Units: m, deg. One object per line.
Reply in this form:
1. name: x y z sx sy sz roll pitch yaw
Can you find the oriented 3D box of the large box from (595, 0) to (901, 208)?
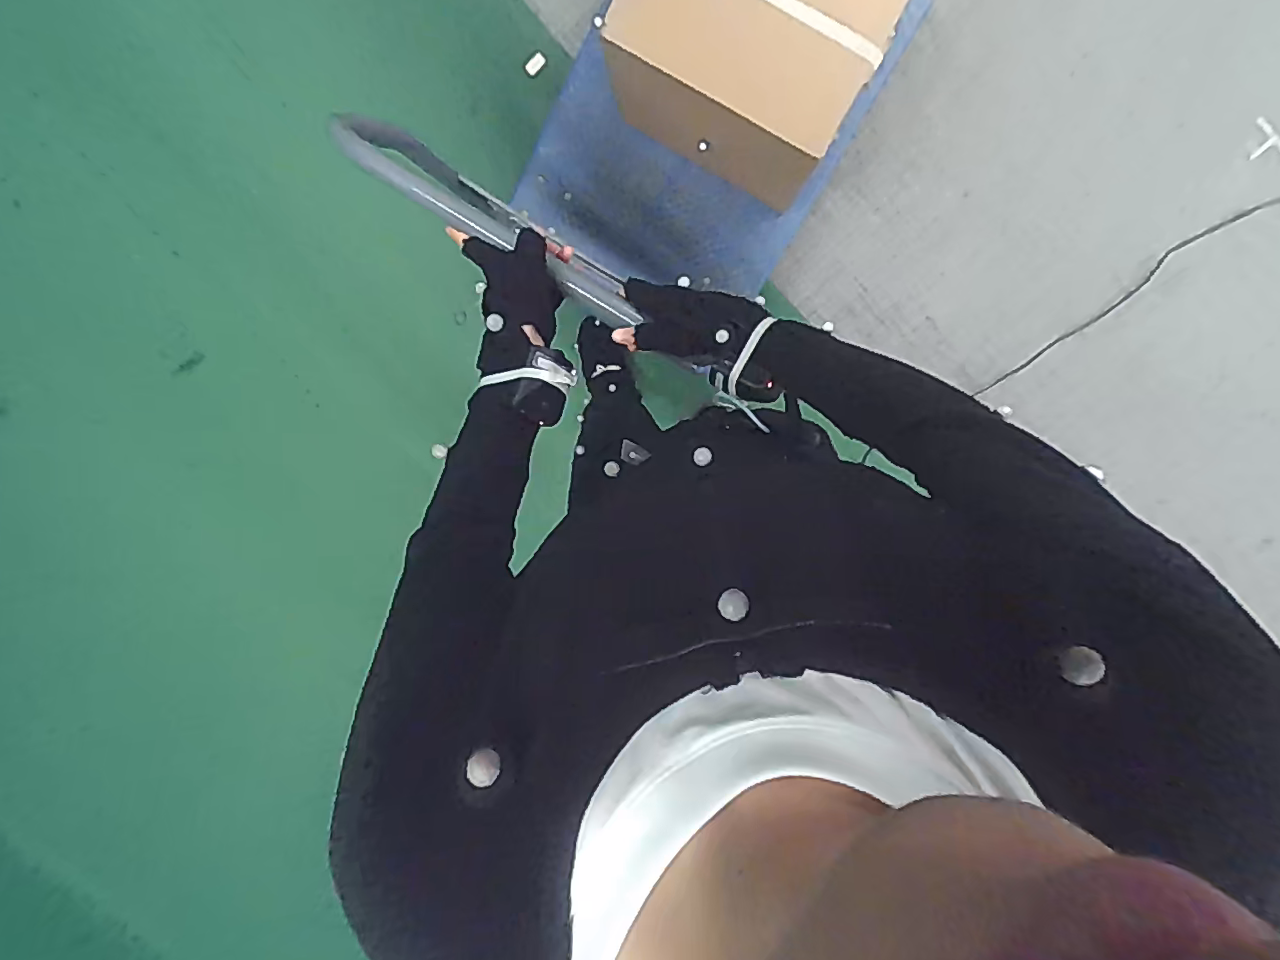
1. large box: 0.187 -0.762 0.967 0.408 0.320 0.320 29 102 -1
